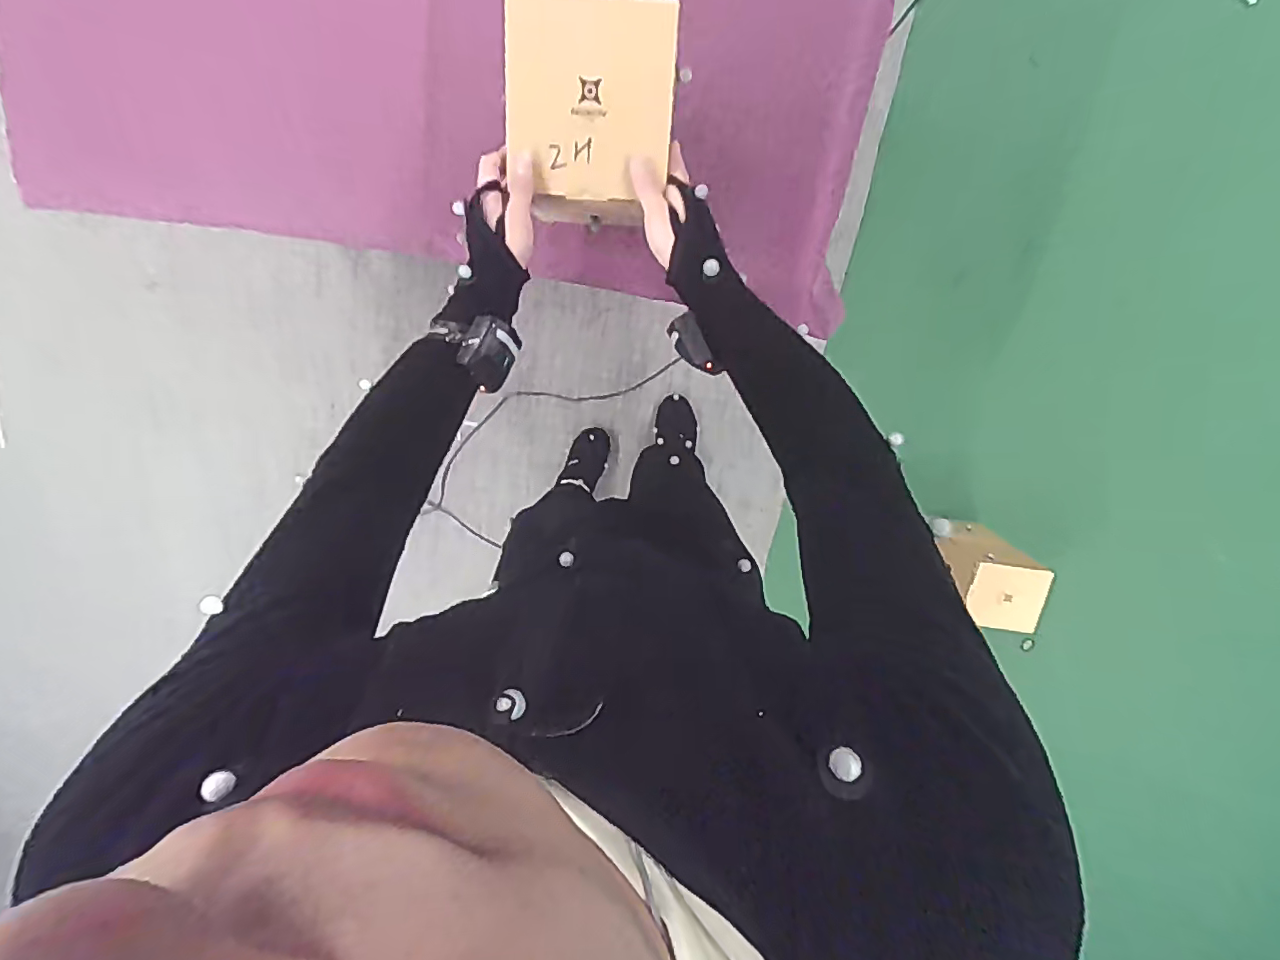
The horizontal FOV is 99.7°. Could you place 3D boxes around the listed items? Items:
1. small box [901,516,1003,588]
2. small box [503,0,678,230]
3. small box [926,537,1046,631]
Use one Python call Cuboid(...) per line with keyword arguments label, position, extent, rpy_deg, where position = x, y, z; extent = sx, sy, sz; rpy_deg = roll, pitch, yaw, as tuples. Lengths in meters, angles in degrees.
Cuboid(label="small box", position=(0.864, 0.209, 1.518), extent=(0.179, 0.176, 0.168), rpy_deg=(9, 106, 1))
Cuboid(label="small box", position=(-0.051, -0.392, 0.606), extent=(0.168, 0.176, 0.179), rpy_deg=(5, 108, 0))
Cuboid(label="small box", position=(0.859, 0.256, 1.363), extent=(0.179, 0.176, 0.168), rpy_deg=(8, 106, 3))
